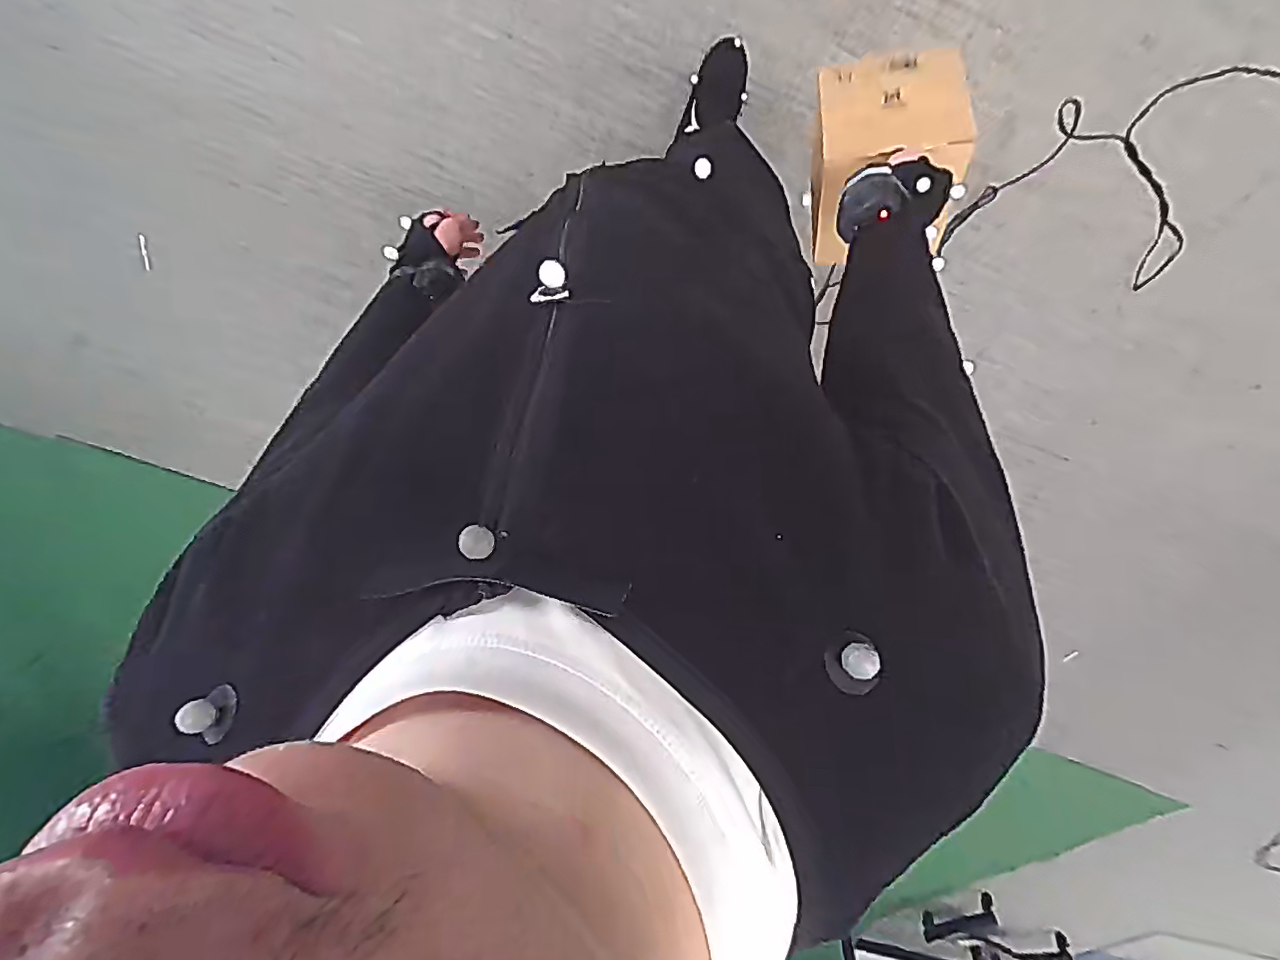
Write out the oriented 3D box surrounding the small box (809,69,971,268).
[{"bbox_3d":[0.326,-0.412,0.742,0.168,0.179,0.176,-2,150,13],"label":"small box"}]
